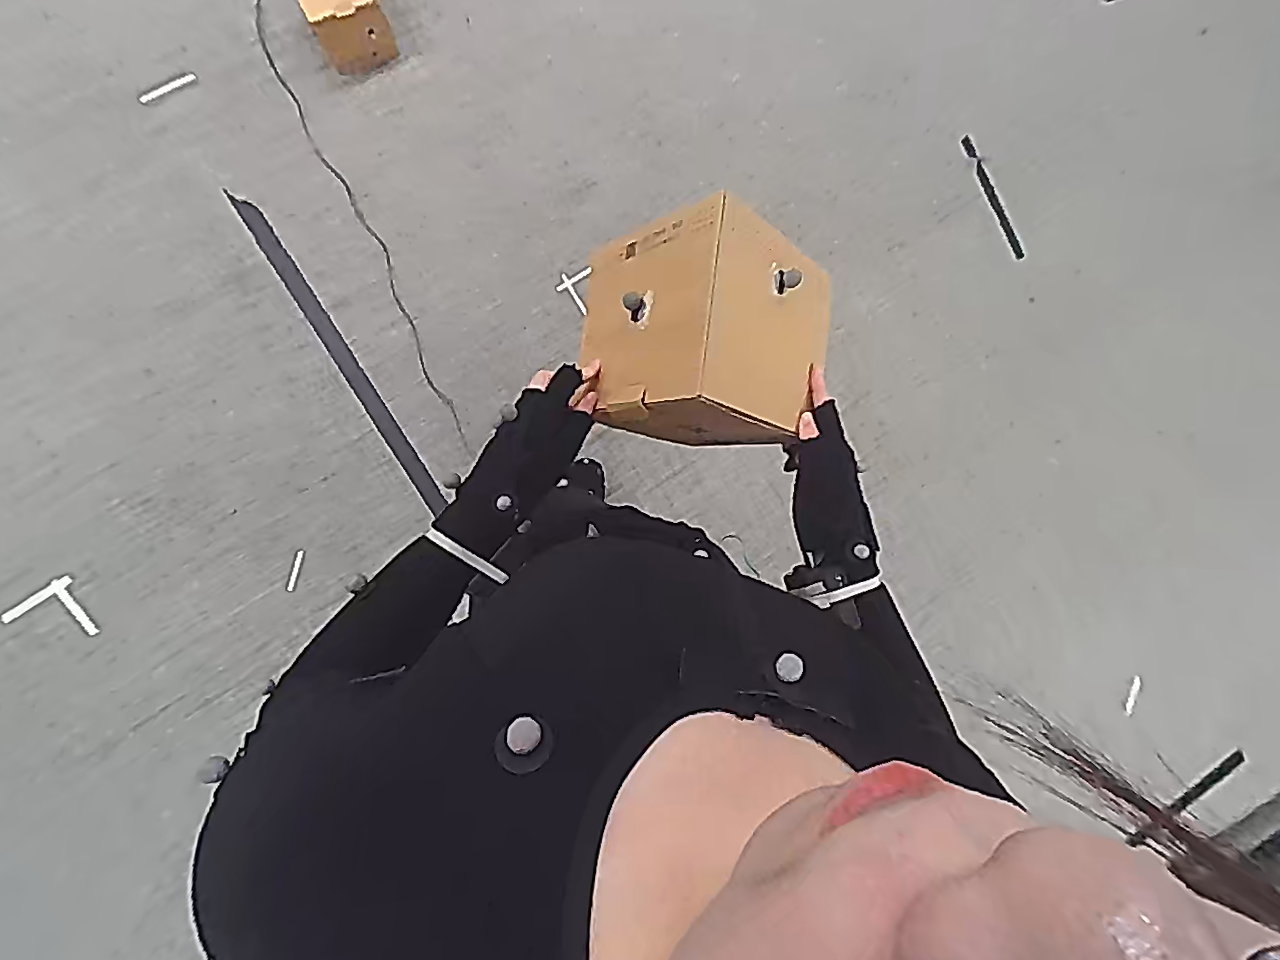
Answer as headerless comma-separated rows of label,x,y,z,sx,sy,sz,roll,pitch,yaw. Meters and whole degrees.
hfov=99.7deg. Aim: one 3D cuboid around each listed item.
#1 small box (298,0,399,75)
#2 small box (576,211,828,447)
small box,-0.707,-1.119,1.293,0.168,0.176,0.179,-25,94,-7
small box,0.063,-0.132,0.525,0.179,0.168,0.176,11,84,-42
